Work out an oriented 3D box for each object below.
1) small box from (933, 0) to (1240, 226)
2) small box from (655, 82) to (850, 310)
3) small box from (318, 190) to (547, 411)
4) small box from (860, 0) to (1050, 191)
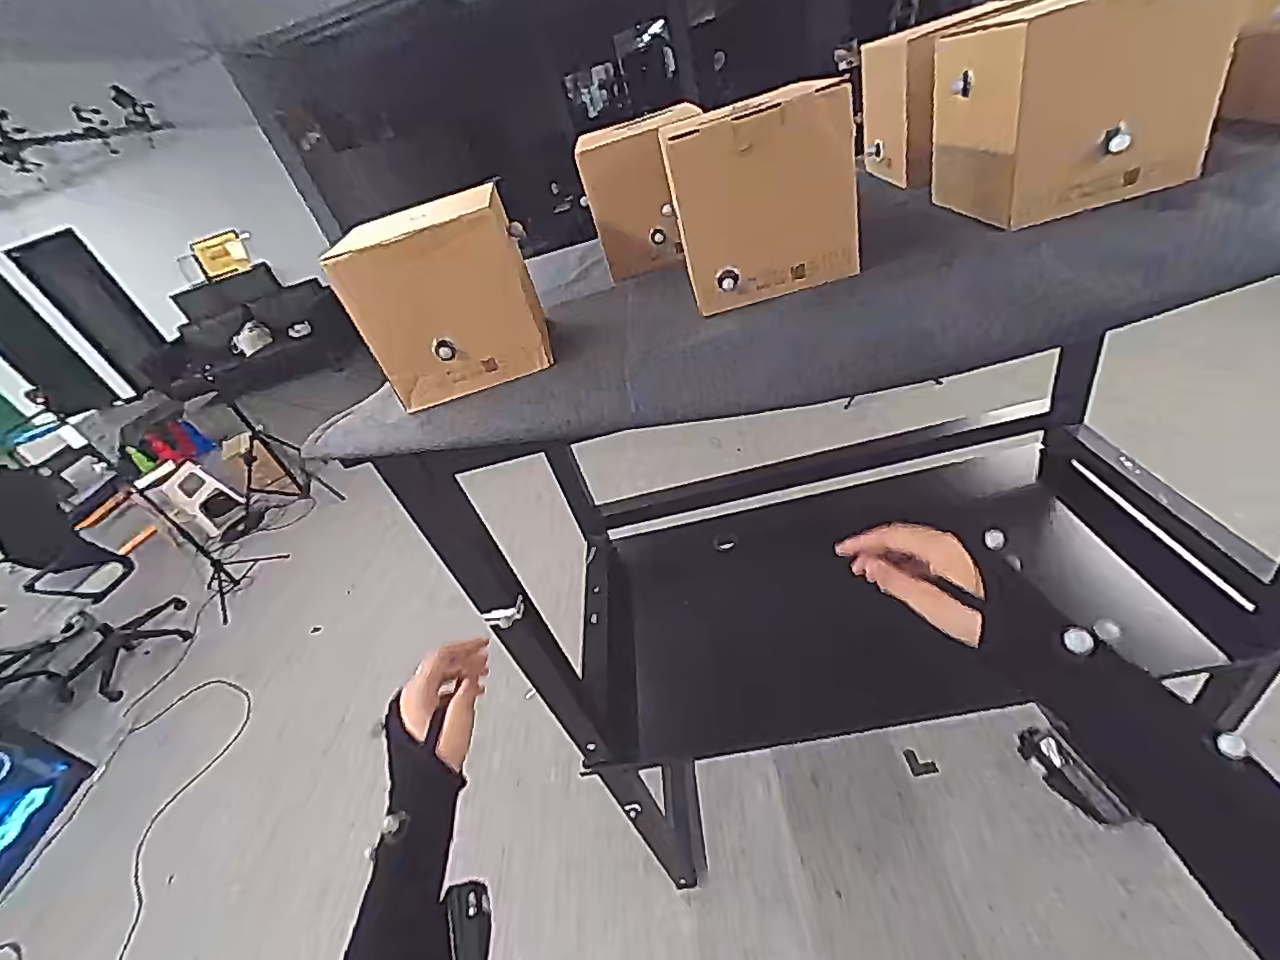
[{"bbox_3d":[0.408,-0.369,0.535,0.168,0.176,0.179,-13,34,10],"label":"small box"},{"bbox_3d":[0.117,-0.300,0.582,0.168,0.176,0.179,-13,34,9],"label":"small box"},{"bbox_3d":[-0.212,-0.202,0.605,0.168,0.176,0.179,-19,37,-1],"label":"small box"},{"bbox_3d":[0.413,-0.518,0.736,0.179,0.176,0.168,-13,35,9],"label":"small box"}]
